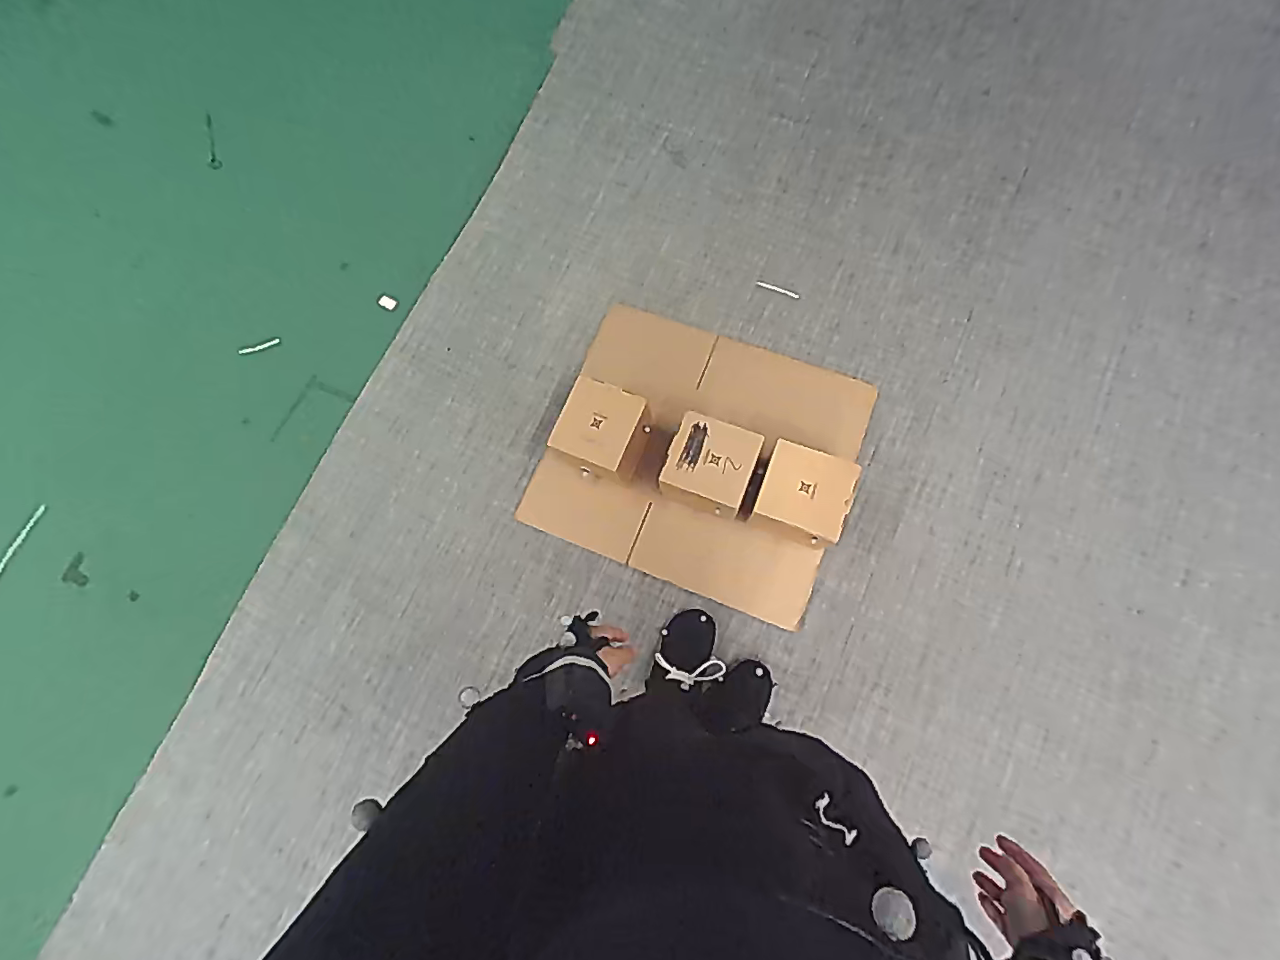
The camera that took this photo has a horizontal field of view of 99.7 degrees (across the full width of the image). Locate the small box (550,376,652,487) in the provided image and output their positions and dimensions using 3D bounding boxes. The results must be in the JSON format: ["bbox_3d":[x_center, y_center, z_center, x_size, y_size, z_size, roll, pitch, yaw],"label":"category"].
[{"bbox_3d":[-0.079,-0.104,1.229,0.168,0.176,0.179,21,81,11],"label":"small box"}]
